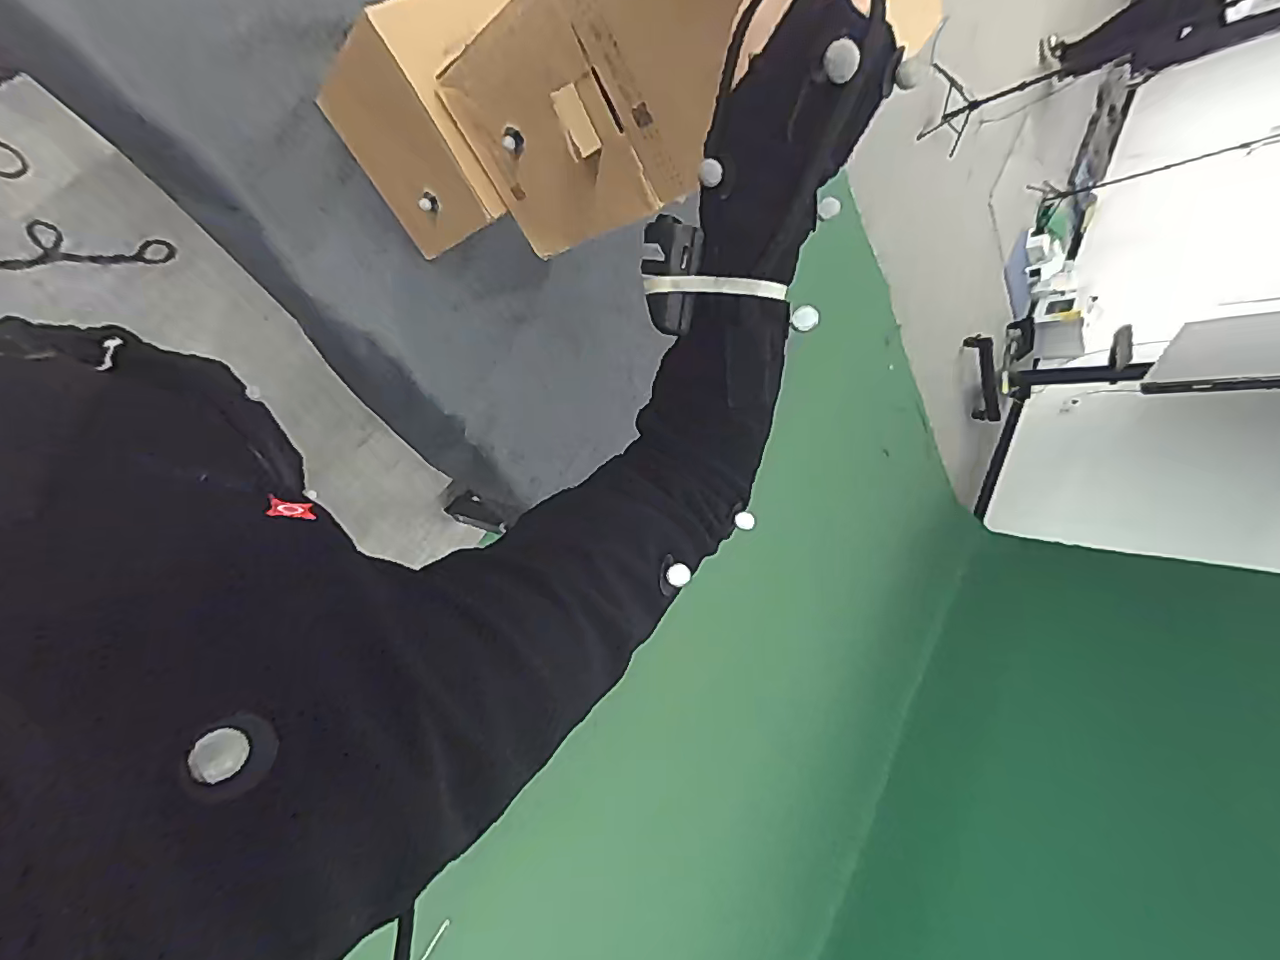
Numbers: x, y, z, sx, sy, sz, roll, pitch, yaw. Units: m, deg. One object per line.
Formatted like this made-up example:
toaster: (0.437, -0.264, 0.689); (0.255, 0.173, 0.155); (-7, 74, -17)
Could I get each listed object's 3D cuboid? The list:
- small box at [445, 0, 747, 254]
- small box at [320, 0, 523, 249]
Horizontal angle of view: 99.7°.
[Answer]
small box: (-0.036, -0.334, 0.488); (0.179, 0.176, 0.168); (-52, 127, -28)
small box: (-0.190, -0.365, 0.565); (0.168, 0.176, 0.179); (-50, 124, -28)
